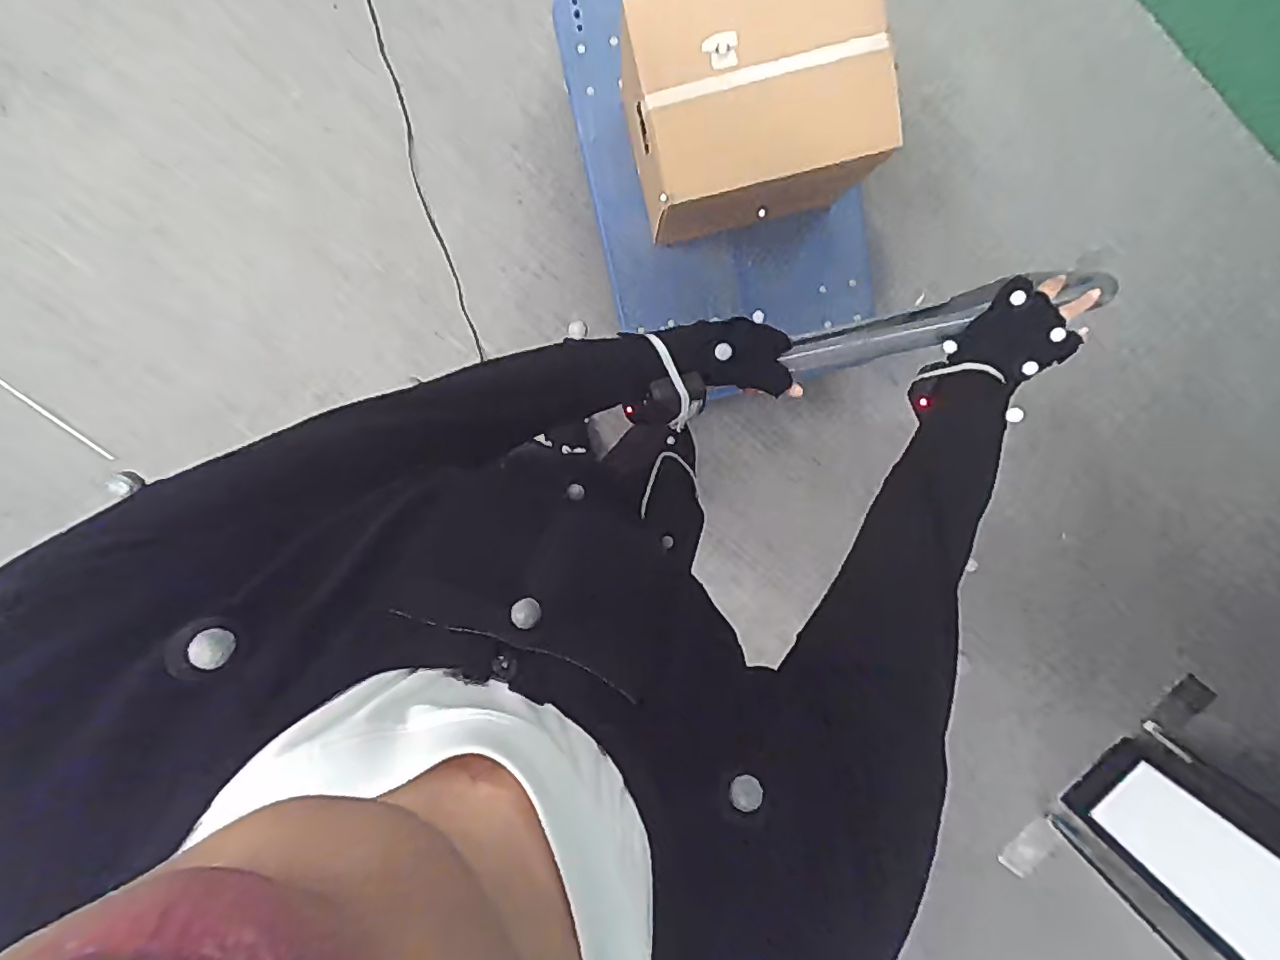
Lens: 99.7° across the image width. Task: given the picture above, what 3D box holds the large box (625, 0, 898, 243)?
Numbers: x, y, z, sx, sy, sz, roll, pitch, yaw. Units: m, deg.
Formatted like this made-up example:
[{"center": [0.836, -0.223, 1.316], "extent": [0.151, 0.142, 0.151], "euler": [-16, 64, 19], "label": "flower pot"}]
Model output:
[{"center": [0.202, -0.686, 1.025], "extent": [0.408, 0.320, 0.320], "euler": [-14, 101, 1], "label": "large box"}]
